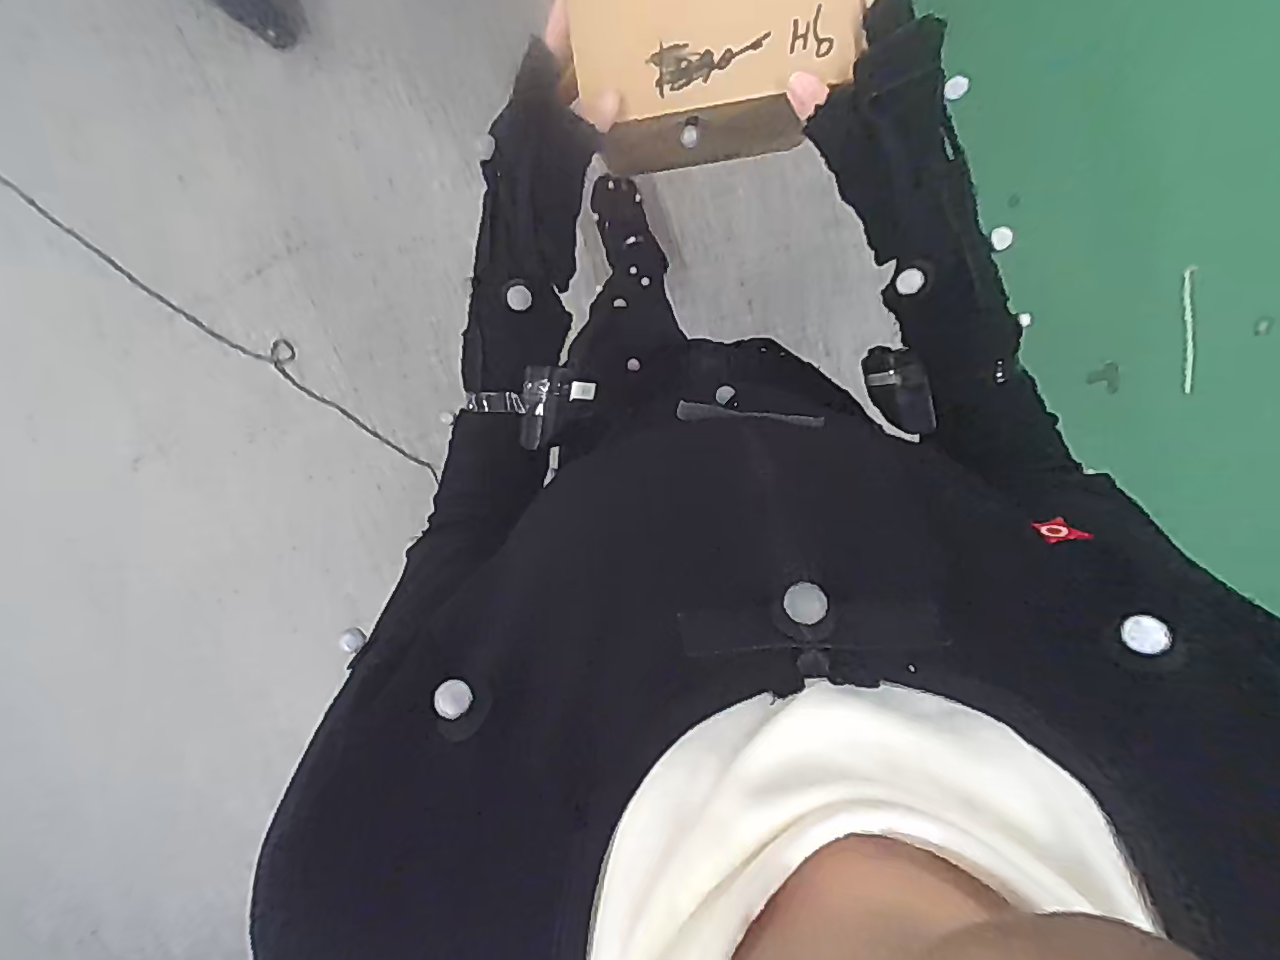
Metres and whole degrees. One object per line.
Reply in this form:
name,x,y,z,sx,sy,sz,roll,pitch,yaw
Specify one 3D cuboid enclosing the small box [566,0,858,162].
small box,0.039,-0.342,0.366,0.168,0.176,0.179,-5,109,7
